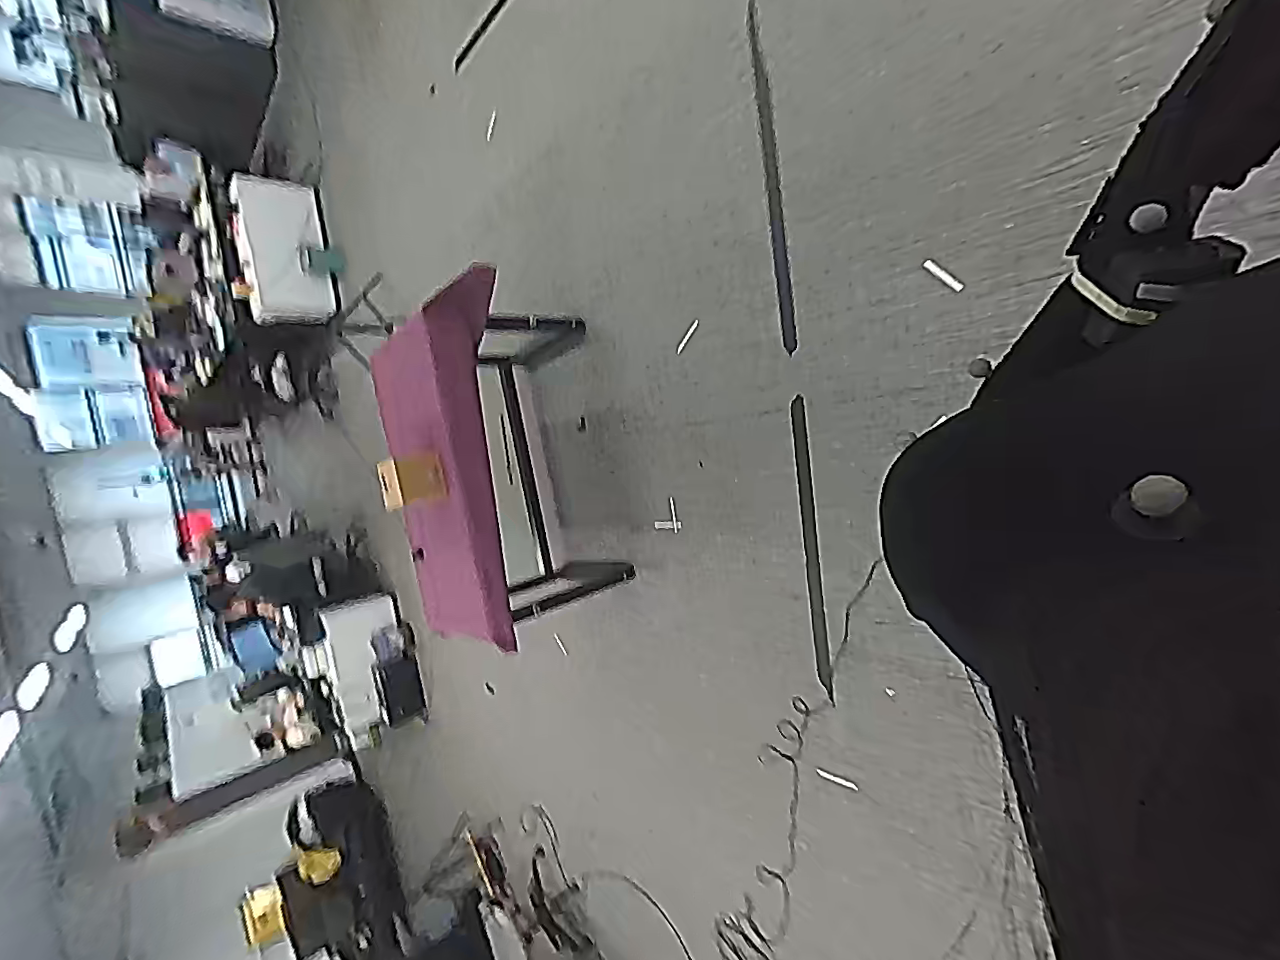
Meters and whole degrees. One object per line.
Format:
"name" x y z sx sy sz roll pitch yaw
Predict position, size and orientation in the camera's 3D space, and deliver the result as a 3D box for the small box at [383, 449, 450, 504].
"small box" -0.825 -0.012 2.000 0.179 0.176 0.168 -13 90 48
